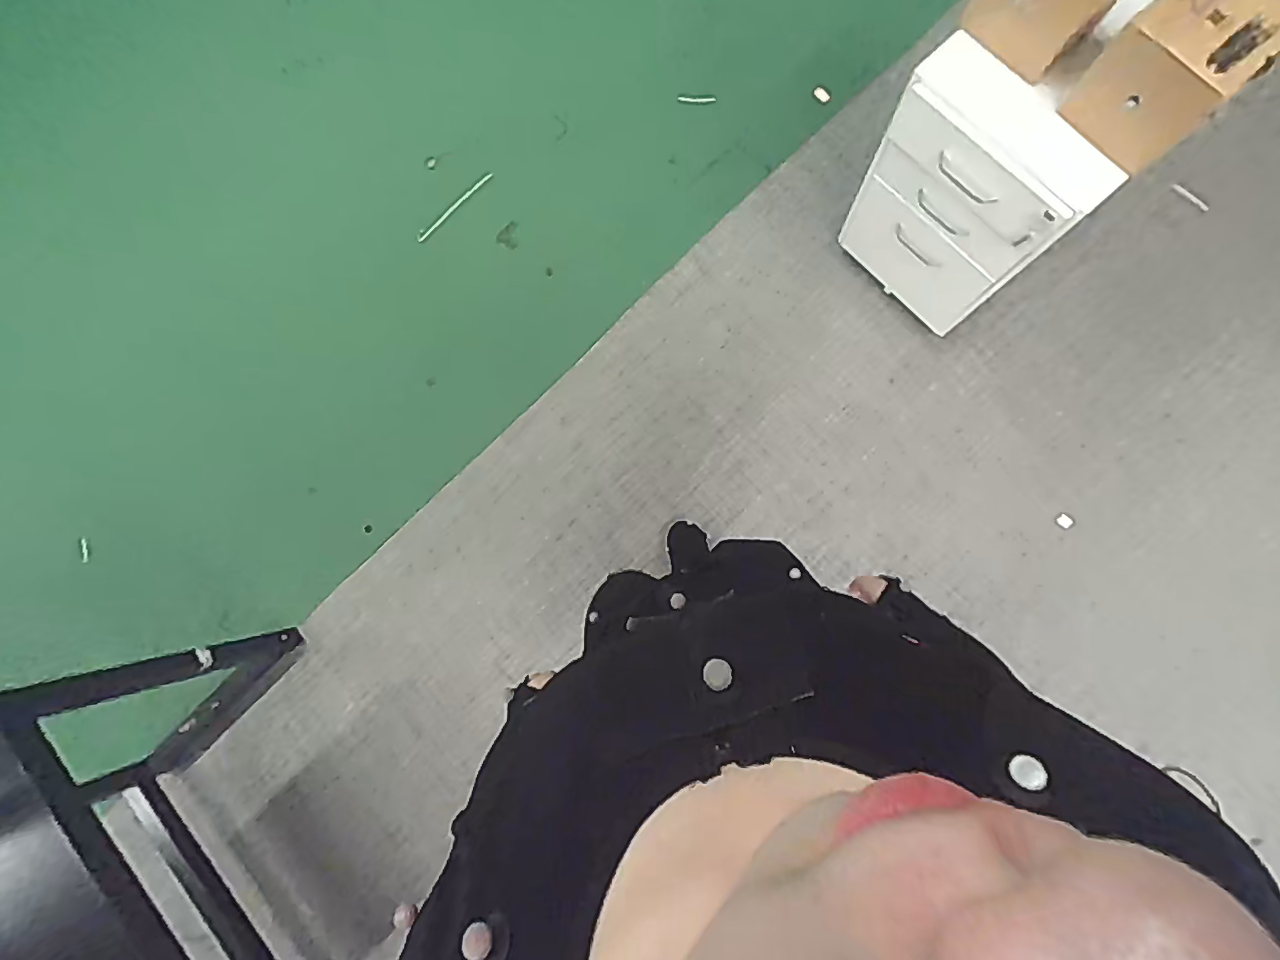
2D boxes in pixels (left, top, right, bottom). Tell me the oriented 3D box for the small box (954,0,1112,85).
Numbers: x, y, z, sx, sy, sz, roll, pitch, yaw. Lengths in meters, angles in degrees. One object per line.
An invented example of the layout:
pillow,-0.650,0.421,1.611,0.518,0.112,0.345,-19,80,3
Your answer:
small box,0.670,-0.814,0.892,0.168,0.176,0.179,-43,81,-1
